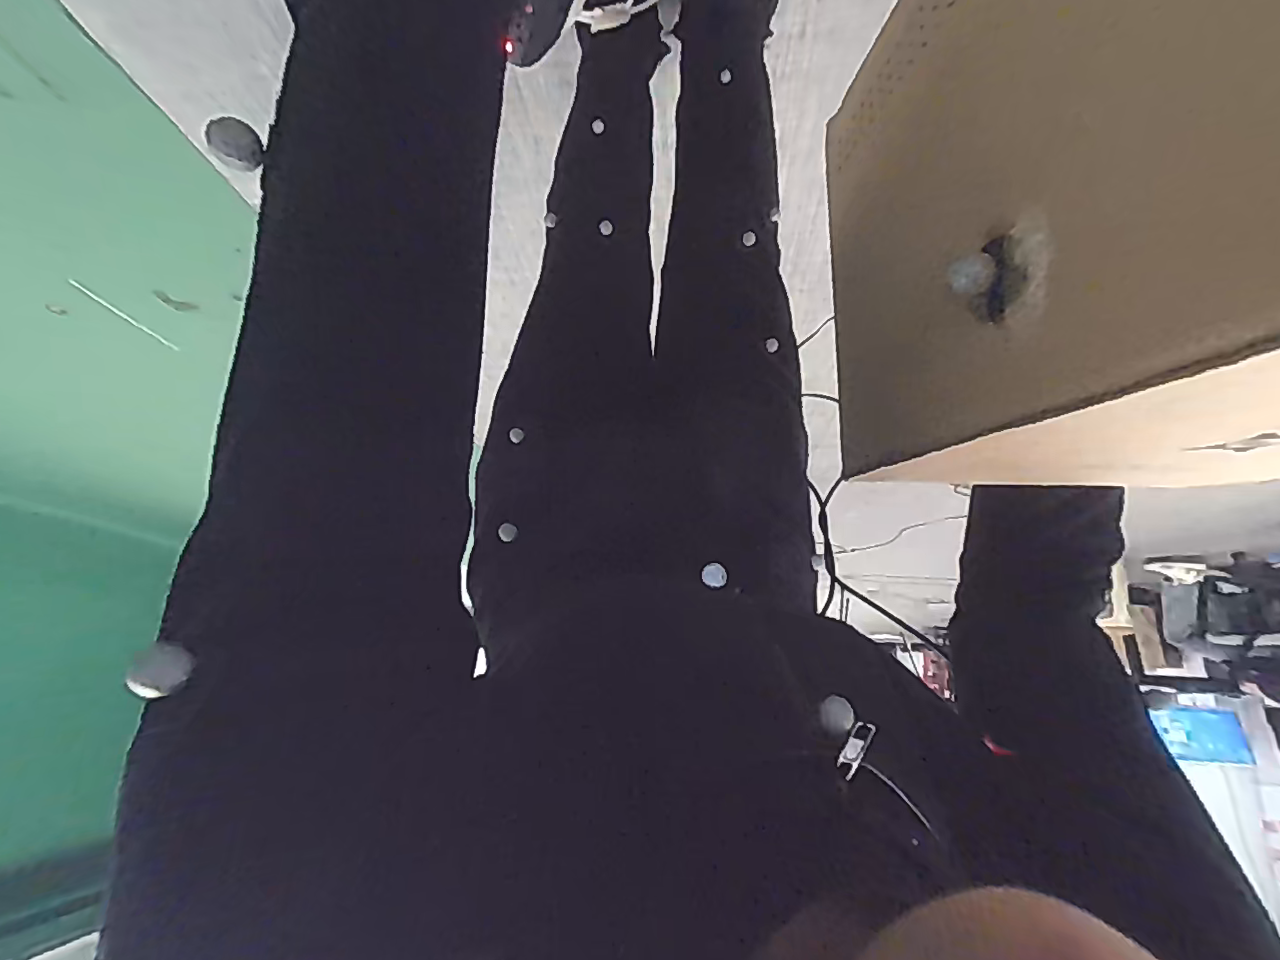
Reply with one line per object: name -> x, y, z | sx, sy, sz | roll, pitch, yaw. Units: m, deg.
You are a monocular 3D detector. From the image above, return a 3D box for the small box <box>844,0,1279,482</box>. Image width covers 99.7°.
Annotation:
small box -> 0.174, -0.094, 0.161 | 0.168, 0.176, 0.179 | 2, 172, -6
